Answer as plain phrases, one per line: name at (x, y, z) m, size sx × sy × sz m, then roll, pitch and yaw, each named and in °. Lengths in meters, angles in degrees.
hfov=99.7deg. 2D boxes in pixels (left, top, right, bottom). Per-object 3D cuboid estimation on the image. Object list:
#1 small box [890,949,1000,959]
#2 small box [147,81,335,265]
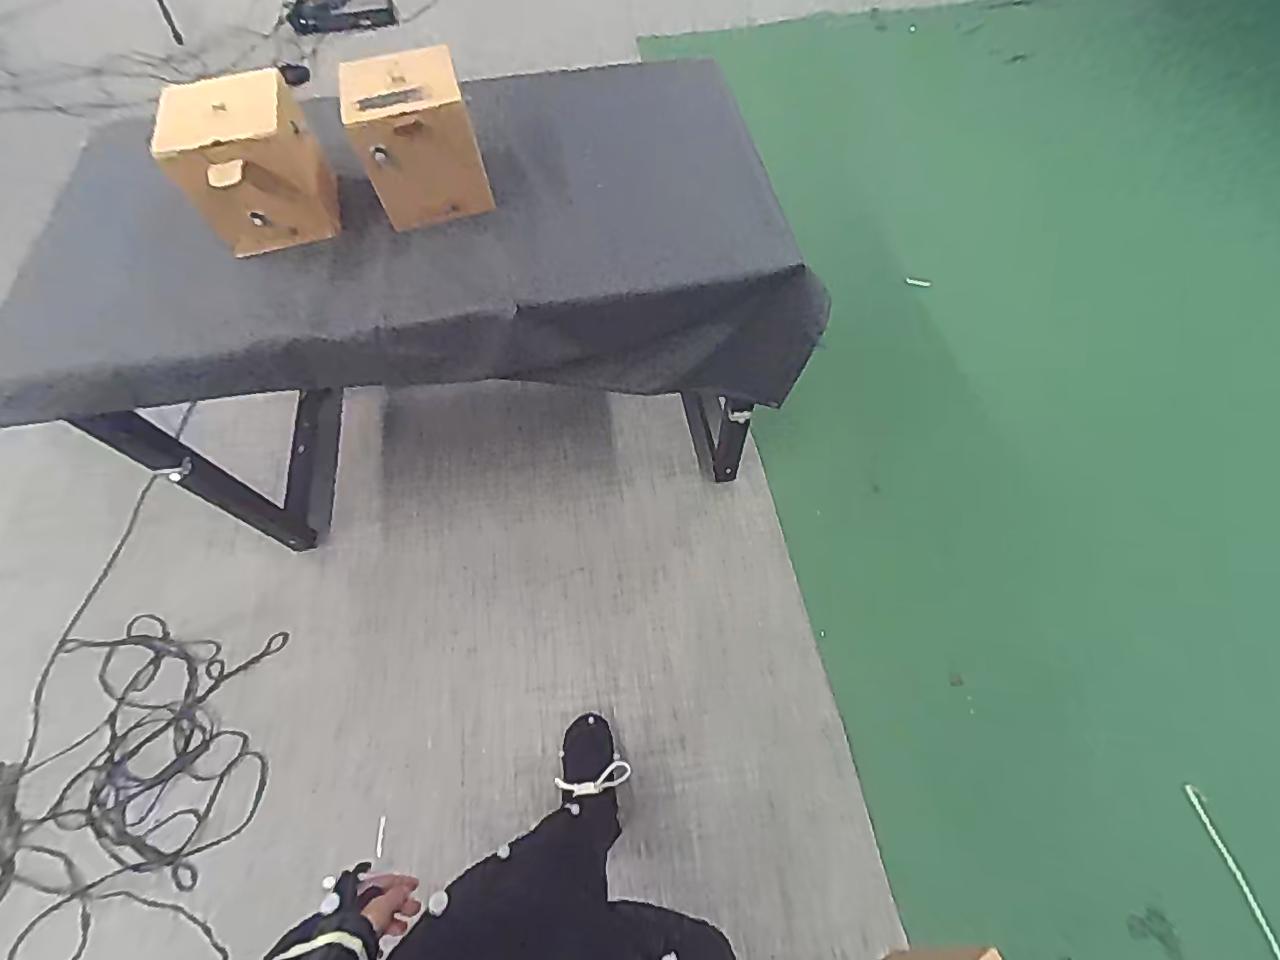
small box at (0.297, 0.605, 0.529) m, size 0.179 × 0.176 × 0.168 m, roll -8°, pitch 53°, yaw -30°
small box at (-0.595, -0.467, 0.831) m, size 0.168 × 0.176 × 0.179 m, roll -17°, pitch 63°, yaw -7°
